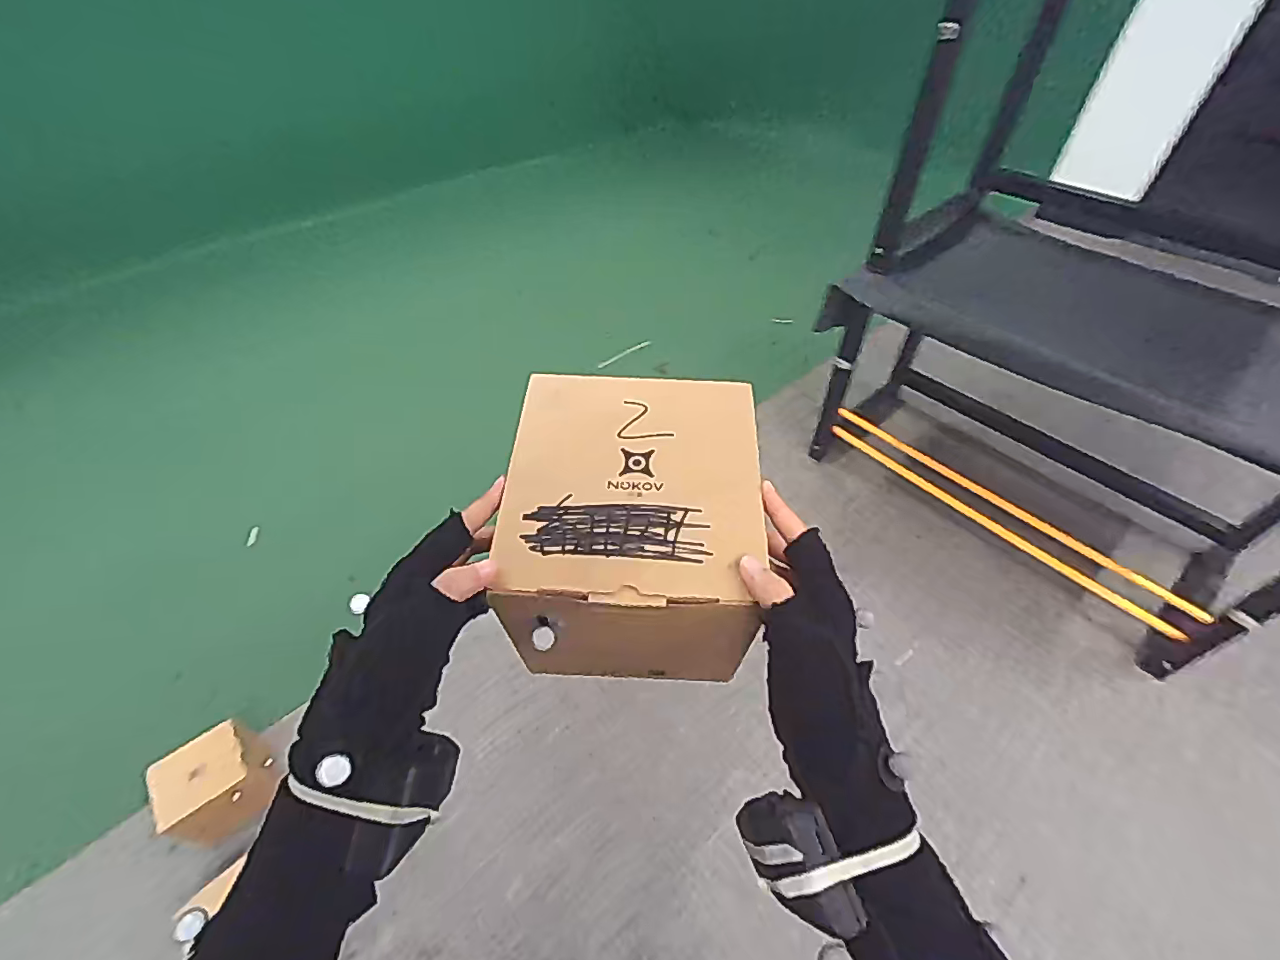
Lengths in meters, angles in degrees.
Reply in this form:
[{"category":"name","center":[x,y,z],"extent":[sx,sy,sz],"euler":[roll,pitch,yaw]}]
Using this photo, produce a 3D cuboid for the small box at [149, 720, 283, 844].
[{"category":"small box","center":[-0.987,0.711,1.267],"extent":[0.179,0.176,0.168],"euler":[-32,55,-26]}]
